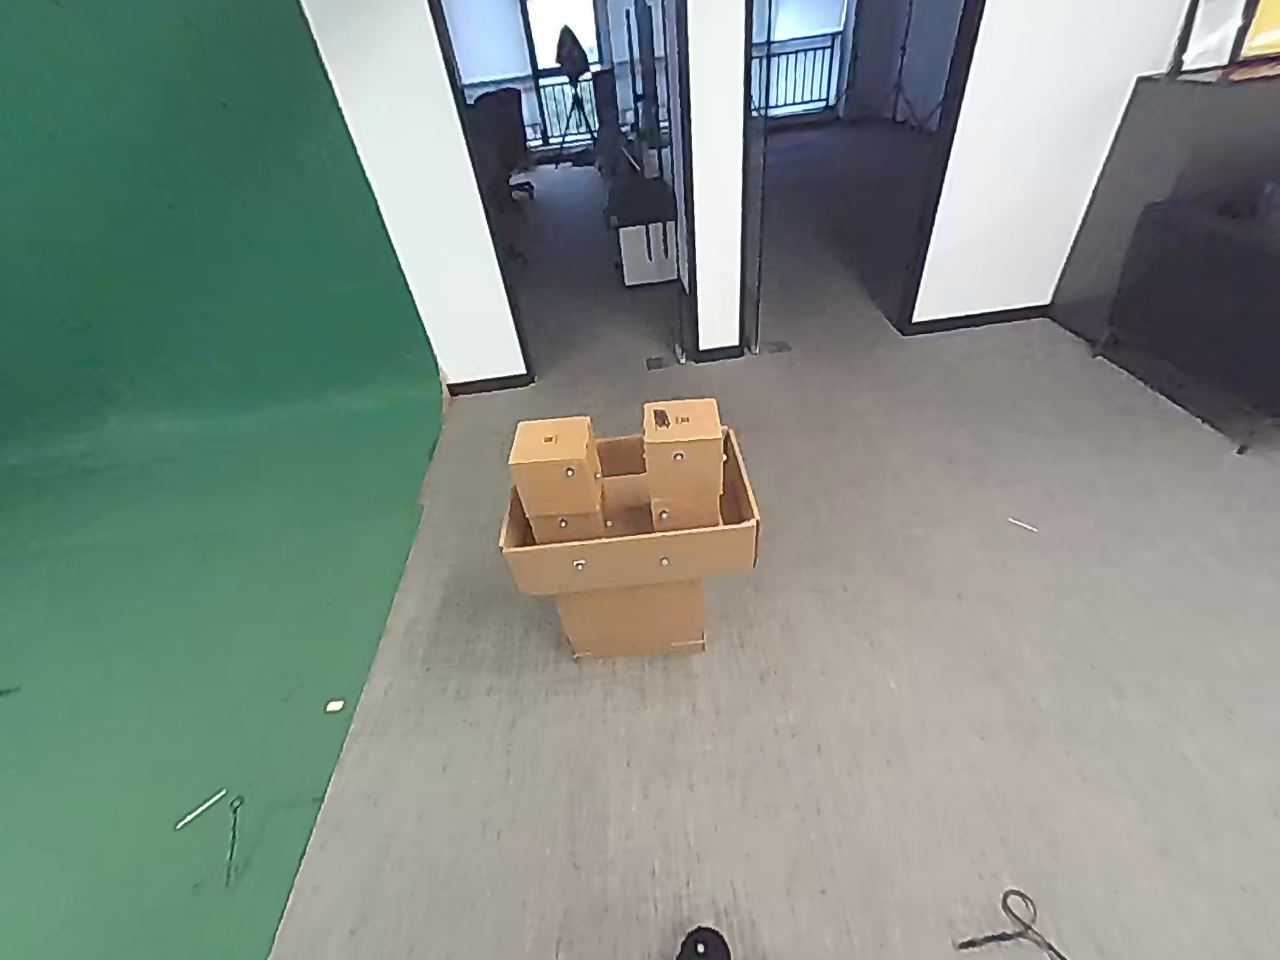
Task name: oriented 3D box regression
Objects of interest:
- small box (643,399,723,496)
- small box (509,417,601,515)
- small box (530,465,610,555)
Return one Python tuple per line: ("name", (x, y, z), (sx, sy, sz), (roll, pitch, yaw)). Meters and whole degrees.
("small box", (0.103, -0.075, 1.292), (0.179, 0.176, 0.168), (-4, 40, 4))
("small box", (-0.196, -0.031, 1.295), (0.179, 0.176, 0.168), (-4, 41, 3))
("small box", (-0.178, 0.082, 1.412), (0.179, 0.176, 0.168), (-5, 41, 2))
